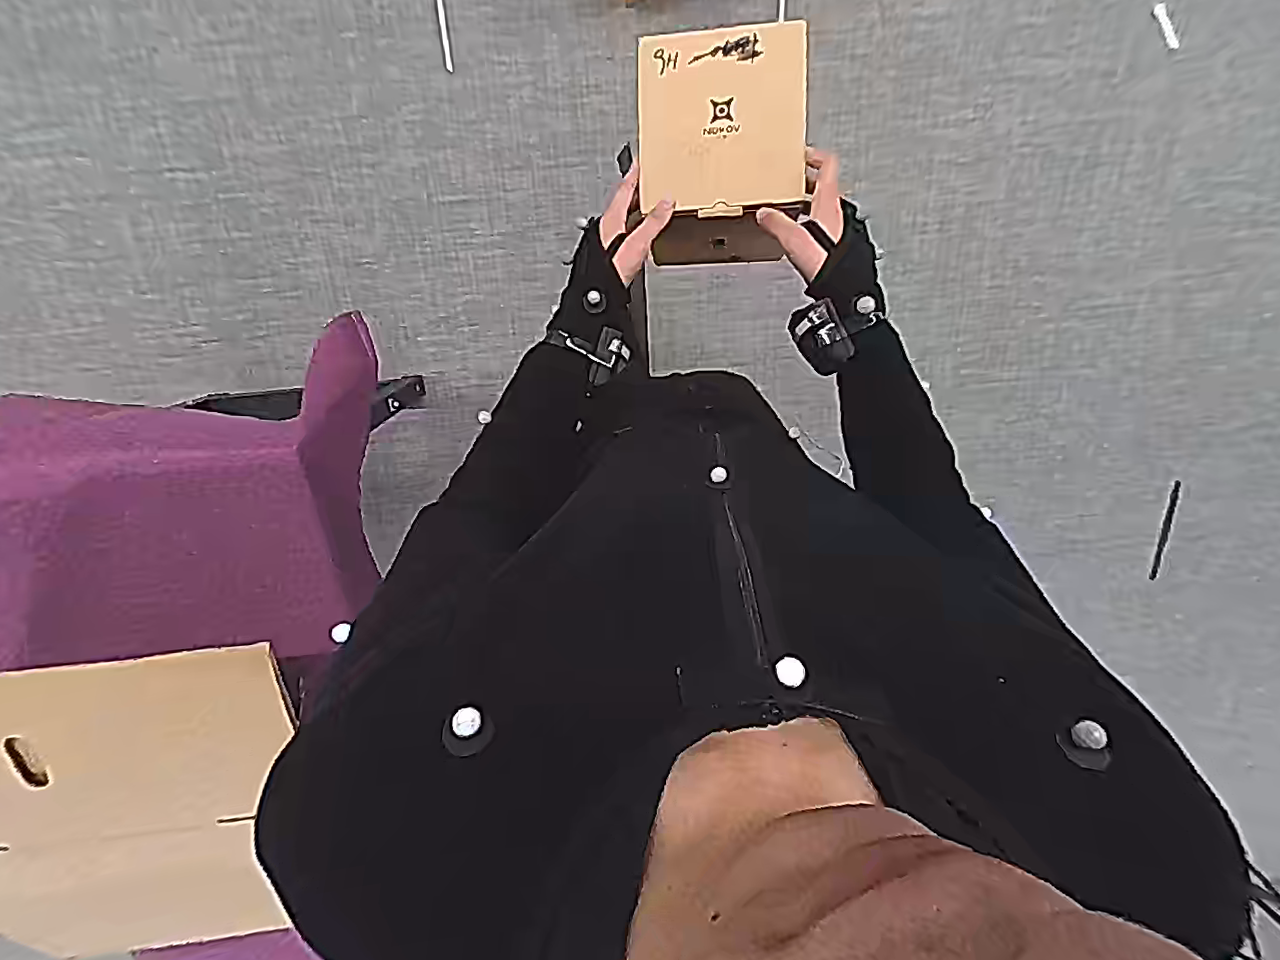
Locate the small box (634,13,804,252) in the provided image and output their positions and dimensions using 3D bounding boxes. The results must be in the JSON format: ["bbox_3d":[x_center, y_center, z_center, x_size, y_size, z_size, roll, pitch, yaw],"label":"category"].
[{"bbox_3d":[0.087,-0.371,0.615,0.168,0.176,0.179,1,95,7],"label":"small box"}]
